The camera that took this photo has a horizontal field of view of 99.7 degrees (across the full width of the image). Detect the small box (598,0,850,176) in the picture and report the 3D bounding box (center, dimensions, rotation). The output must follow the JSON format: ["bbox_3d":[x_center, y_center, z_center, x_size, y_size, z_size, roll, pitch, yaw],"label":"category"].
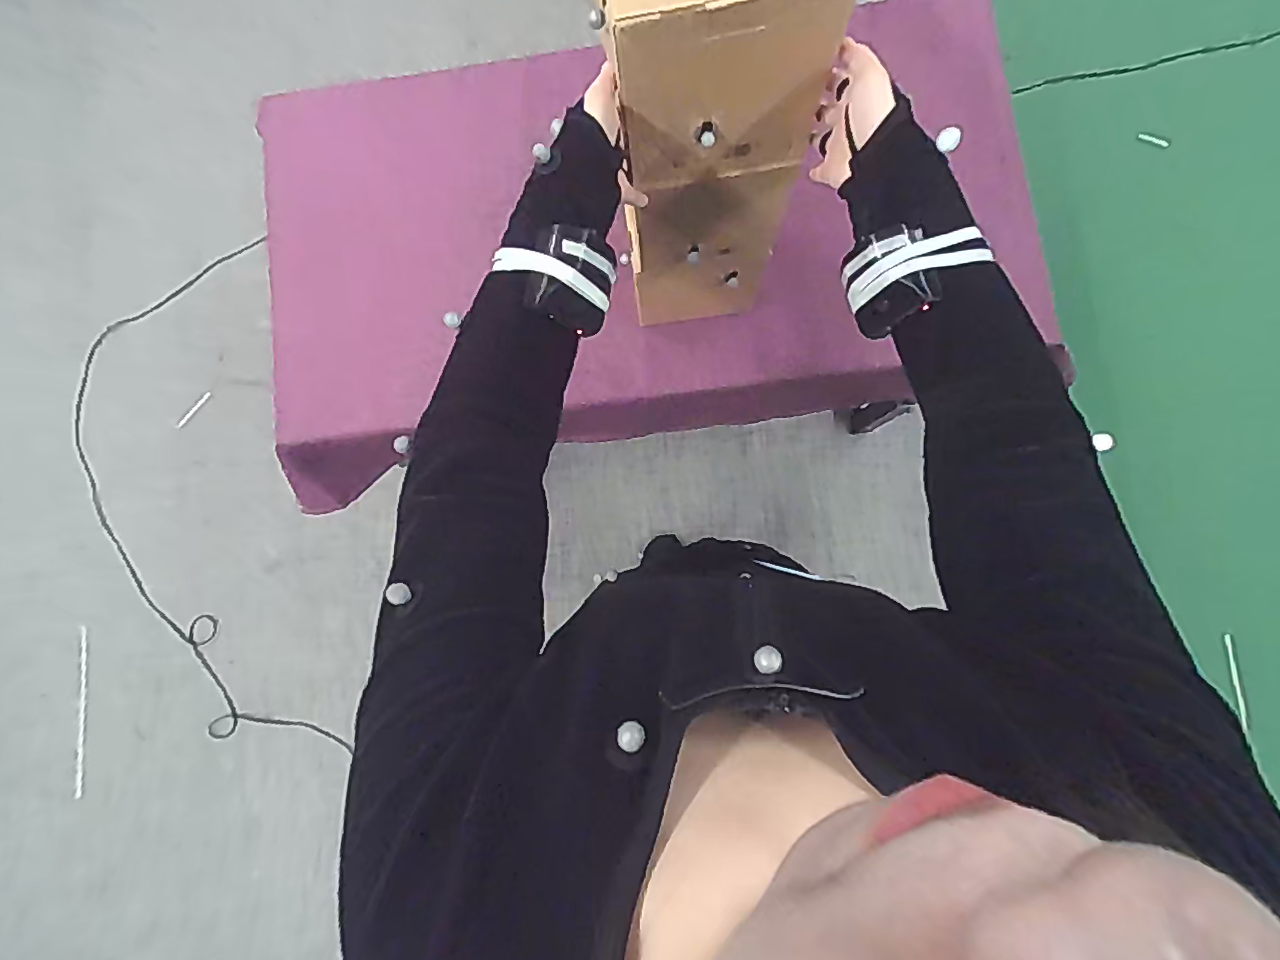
[{"bbox_3d":[0.052,-0.391,0.438,0.168,0.176,0.179,-10,85,2],"label":"small box"}]

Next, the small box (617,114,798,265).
[{"bbox_3d":[0.062,-0.368,0.599,0.168,0.176,0.179,-8,85,2],"label":"small box"}]

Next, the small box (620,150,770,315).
[{"bbox_3d":[0.071,-0.349,0.761,0.179,0.176,0.168,-7,83,2],"label":"small box"}]
